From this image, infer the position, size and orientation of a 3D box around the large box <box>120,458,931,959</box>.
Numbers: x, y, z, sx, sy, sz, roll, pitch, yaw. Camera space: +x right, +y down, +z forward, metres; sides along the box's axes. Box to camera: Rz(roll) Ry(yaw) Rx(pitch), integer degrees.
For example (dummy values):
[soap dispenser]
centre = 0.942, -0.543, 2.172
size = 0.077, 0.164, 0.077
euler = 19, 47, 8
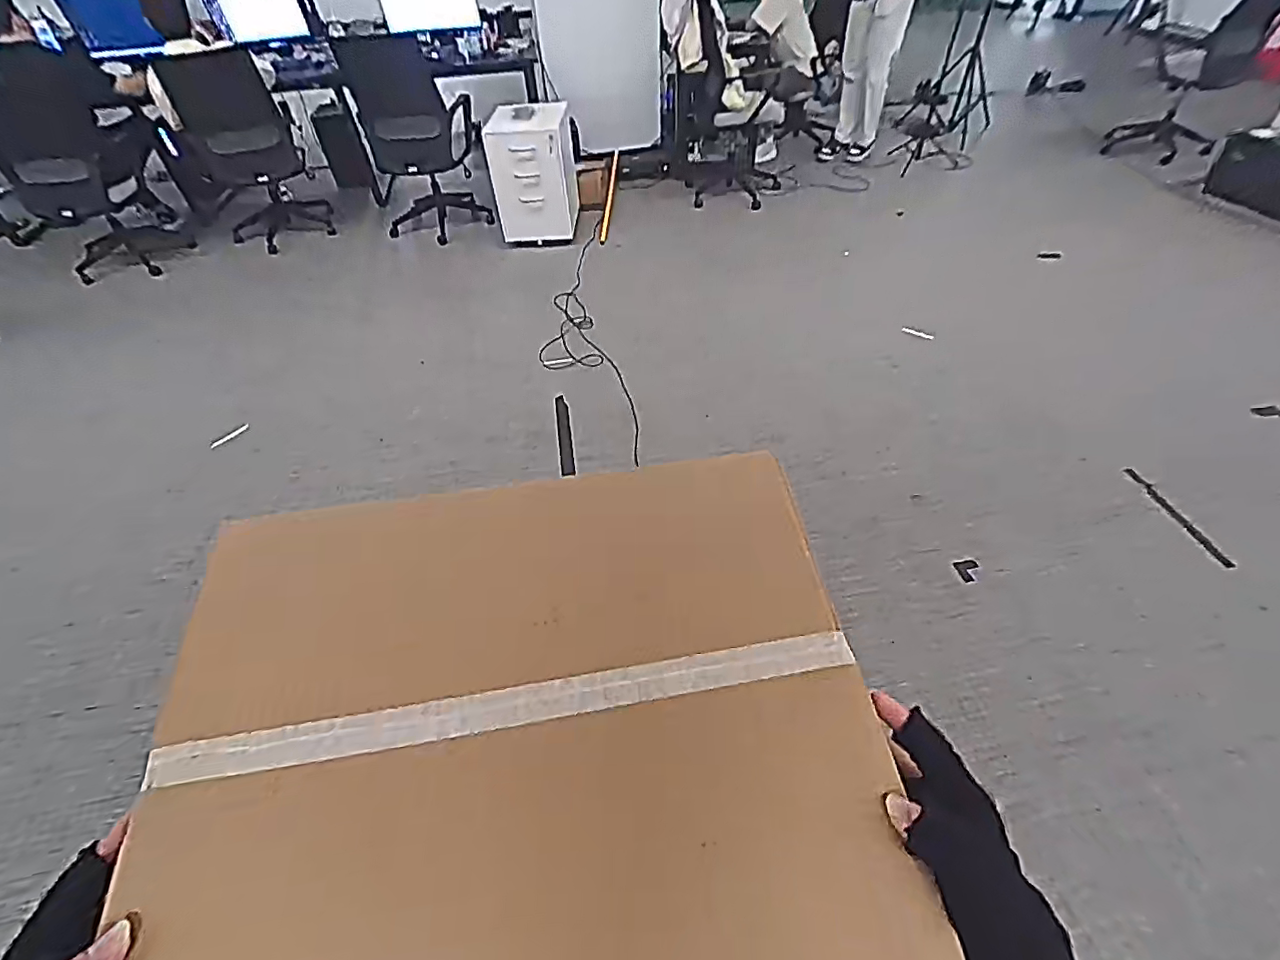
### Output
[large box]
centre = -0.071, 0.217, 0.453
size = 0.408, 0.320, 0.320
euler = -8, 57, -5
